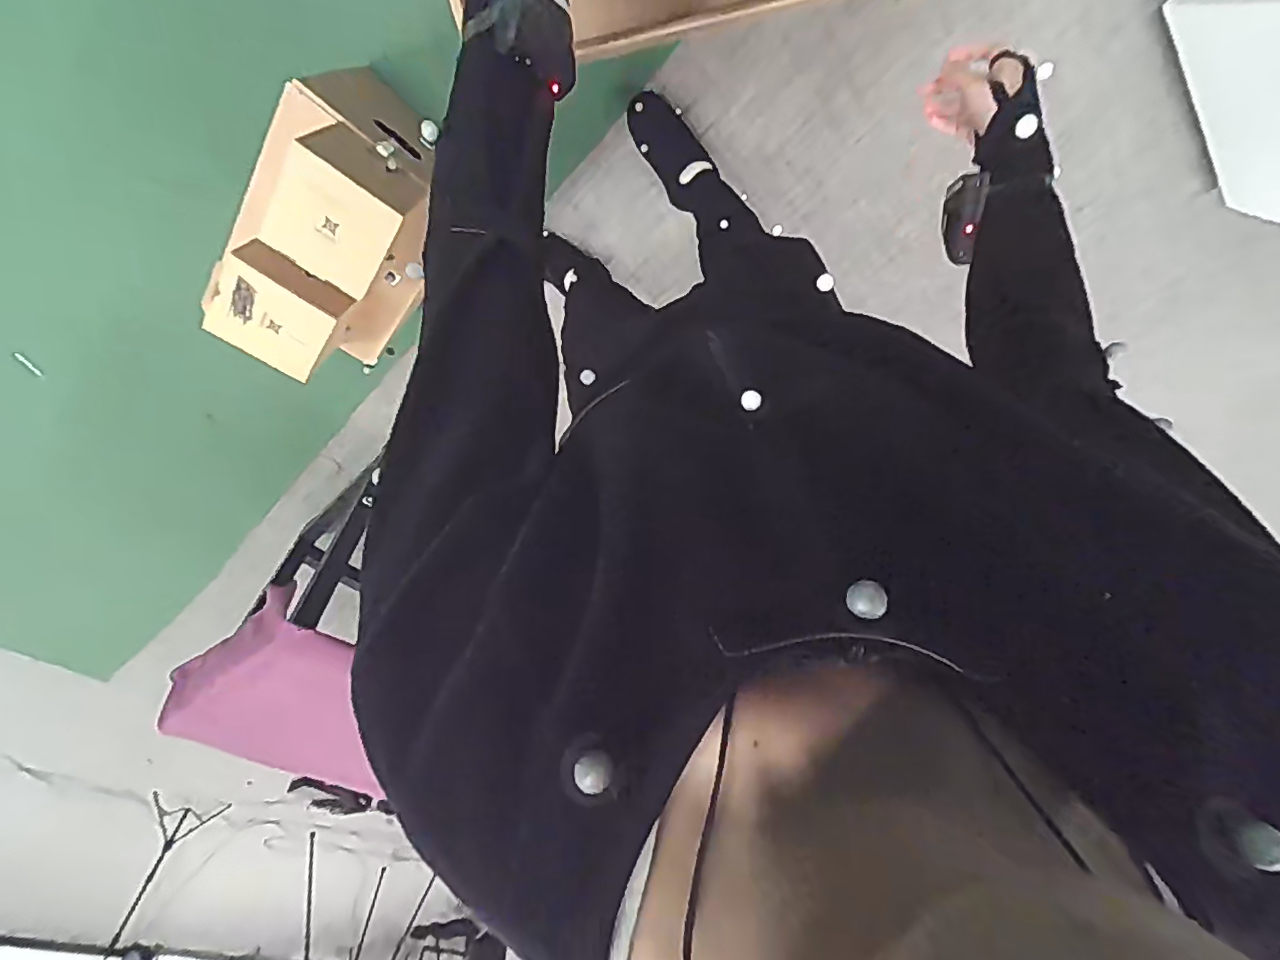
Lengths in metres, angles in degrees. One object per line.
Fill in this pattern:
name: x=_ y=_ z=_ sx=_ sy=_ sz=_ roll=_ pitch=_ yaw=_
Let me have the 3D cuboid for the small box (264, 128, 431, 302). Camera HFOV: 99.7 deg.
small box: x=-0.472 y=-0.439 z=0.895 sx=0.168 sy=0.176 sz=0.179 roll=32 pitch=122 yaw=-26

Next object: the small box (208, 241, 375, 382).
small box: x=-0.629 y=-0.320 z=0.992 sx=0.179 sy=0.176 sz=0.168 roll=34 pitch=122 yaw=-25
